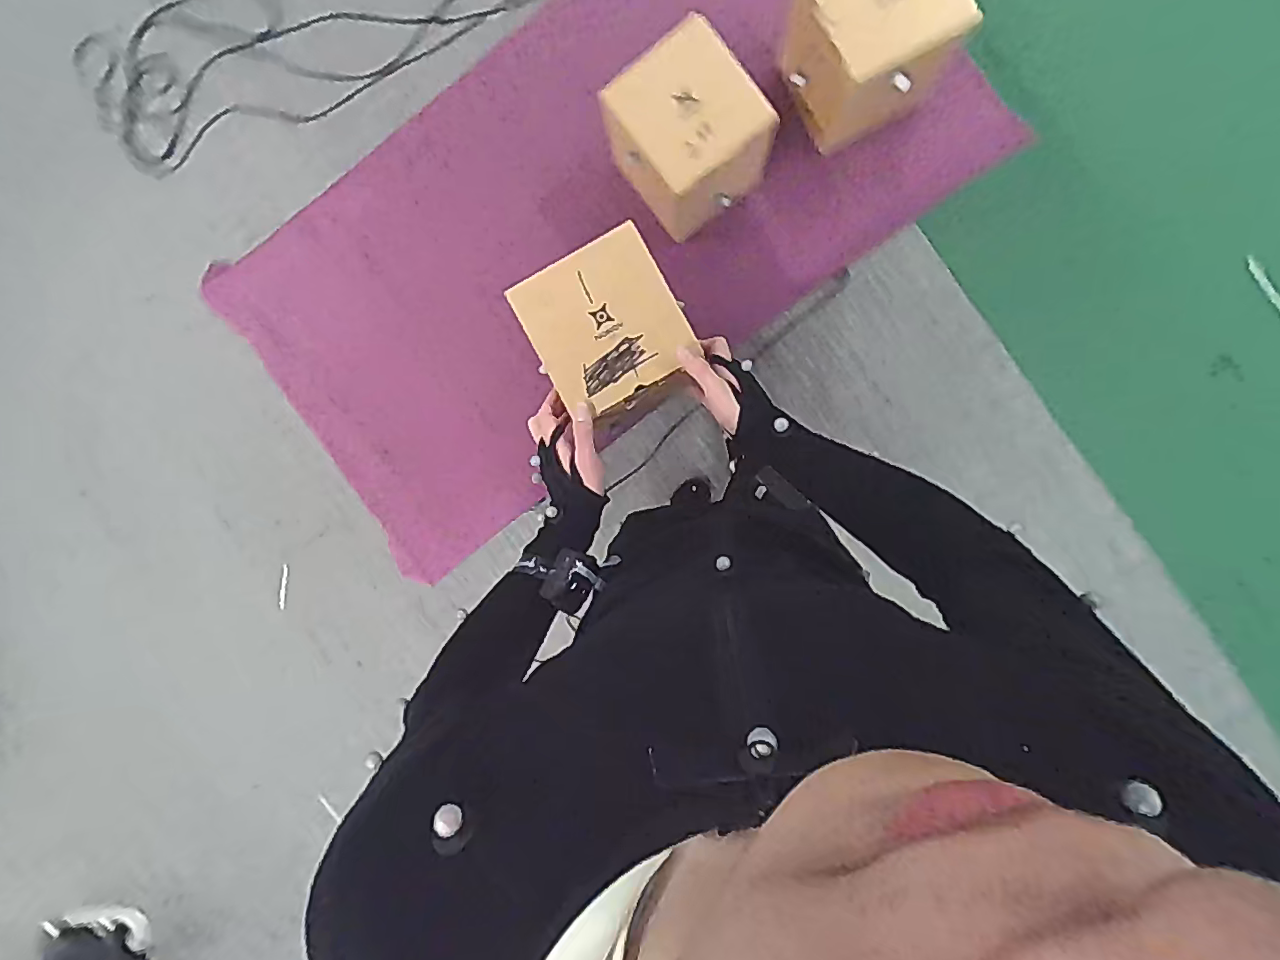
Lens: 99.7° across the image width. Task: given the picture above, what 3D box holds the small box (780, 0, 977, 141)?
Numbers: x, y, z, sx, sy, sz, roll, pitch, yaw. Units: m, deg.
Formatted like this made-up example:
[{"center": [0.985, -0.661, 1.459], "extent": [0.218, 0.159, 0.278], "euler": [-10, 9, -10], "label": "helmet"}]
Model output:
[{"center": [0.318, -0.630, 0.760], "extent": [0.179, 0.176, 0.168], "euler": [-26, 91, 7], "label": "small box"}]

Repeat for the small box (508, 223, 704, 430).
[{"center": [-0.032, -0.172, 0.675], "extent": [0.168, 0.176, 0.179], "euler": [-27, 89, 3], "label": "small box"}]

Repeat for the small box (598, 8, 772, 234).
[{"center": [0.064, -0.501, 0.786], "extent": [0.168, 0.176, 0.179], "euler": [-37, 90, 6], "label": "small box"}]
